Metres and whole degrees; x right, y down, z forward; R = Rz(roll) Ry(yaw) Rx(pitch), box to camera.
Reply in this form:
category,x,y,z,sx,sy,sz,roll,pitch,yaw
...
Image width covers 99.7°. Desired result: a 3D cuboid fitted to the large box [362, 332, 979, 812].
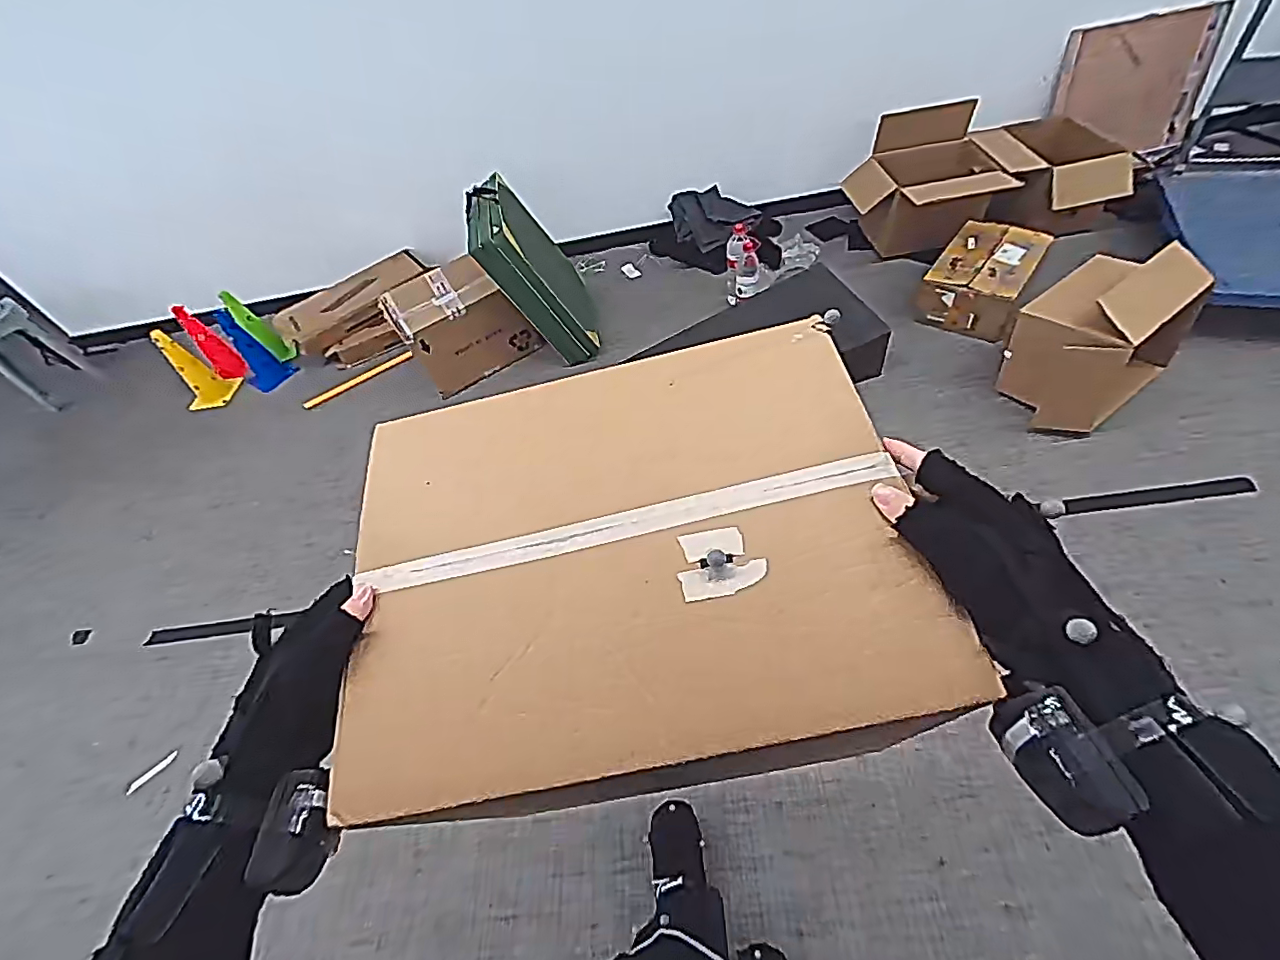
category,x,y,z,sx,sy,sz,roll,pitch,yaw
large box,0.013,0.115,0.538,0.408,0.320,0.320,-13,59,3
